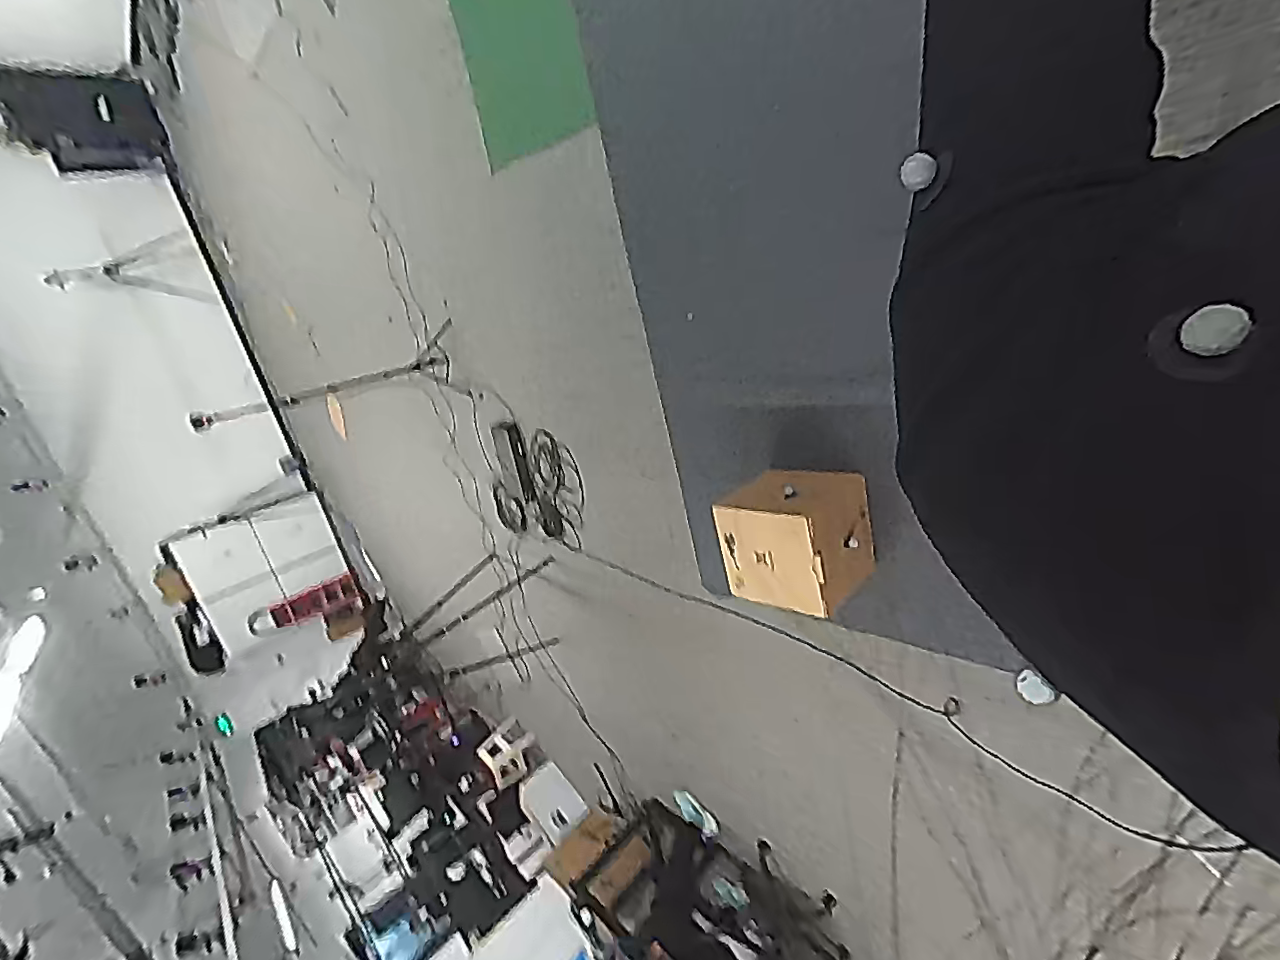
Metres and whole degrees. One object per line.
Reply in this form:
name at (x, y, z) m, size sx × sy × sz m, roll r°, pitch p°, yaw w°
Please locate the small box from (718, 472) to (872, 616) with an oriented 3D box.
small box at (0.259, 0.091, 0.878) m, size 0.179 × 0.176 × 0.168 m, roll 4°, pitch 114°, yaw 48°
